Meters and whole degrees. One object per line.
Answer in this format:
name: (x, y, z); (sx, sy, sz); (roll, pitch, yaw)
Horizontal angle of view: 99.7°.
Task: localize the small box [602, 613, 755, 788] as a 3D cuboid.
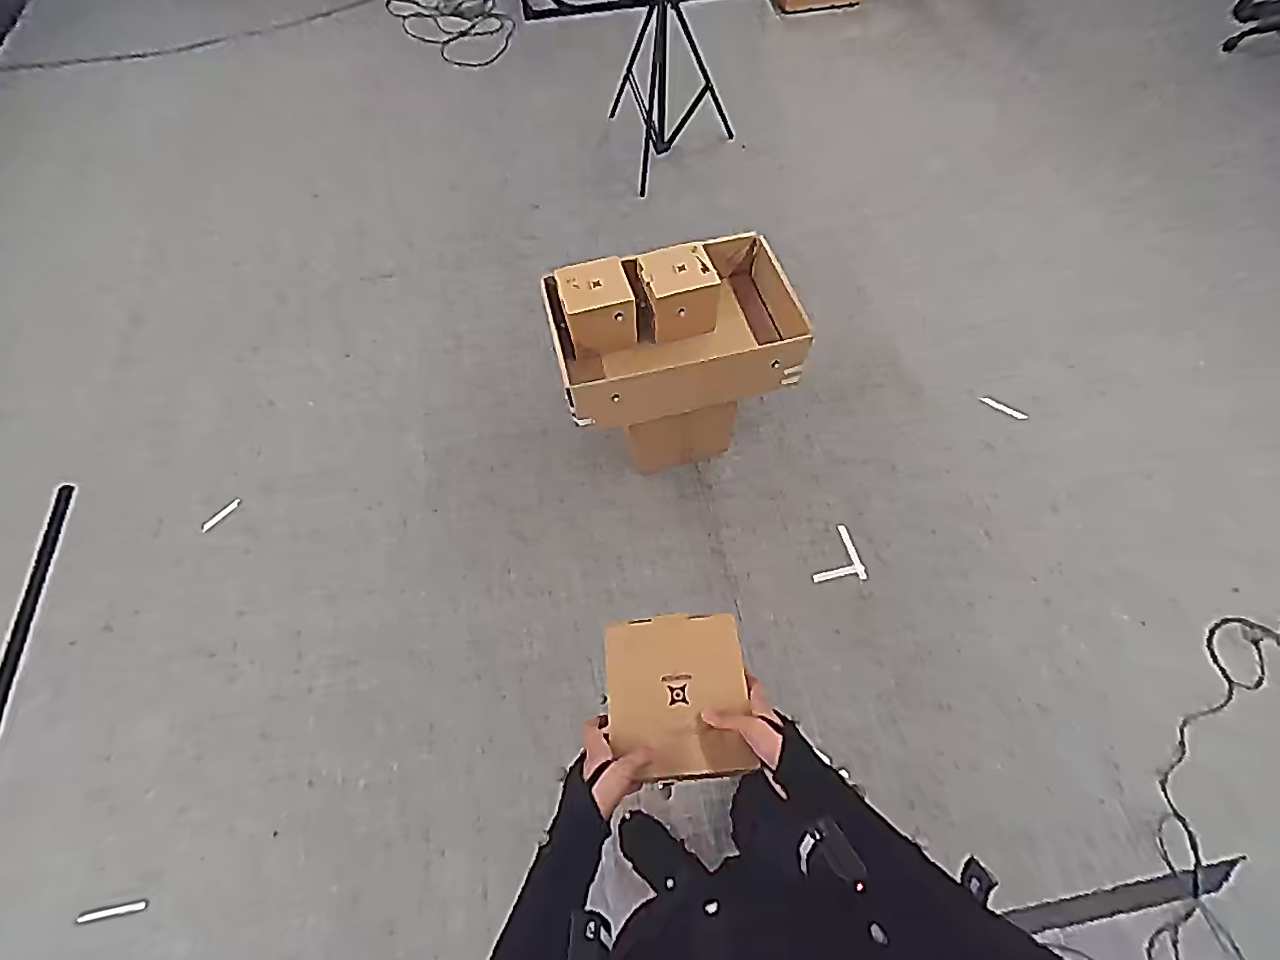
small box: (0.037, 0.286, 0.696); (0.168, 0.176, 0.179); (-4, 58, -3)
